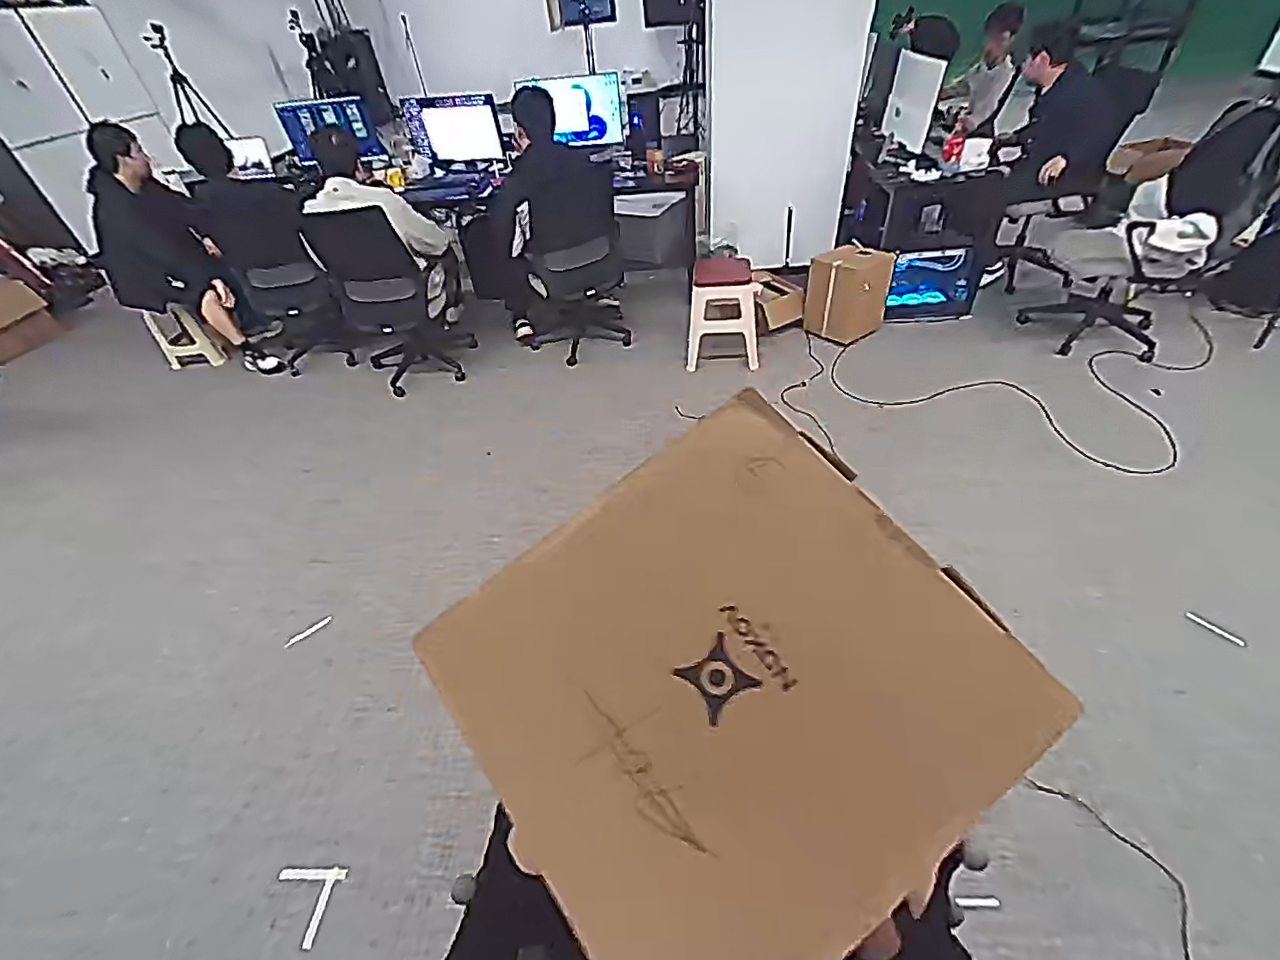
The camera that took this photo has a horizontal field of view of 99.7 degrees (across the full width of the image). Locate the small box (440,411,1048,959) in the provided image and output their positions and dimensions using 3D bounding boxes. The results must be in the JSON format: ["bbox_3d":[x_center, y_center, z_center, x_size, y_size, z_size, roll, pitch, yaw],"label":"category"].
[{"bbox_3d":[0.039,0.103,0.281,0.179,0.176,0.168,-37,69,-9],"label":"small box"}]
